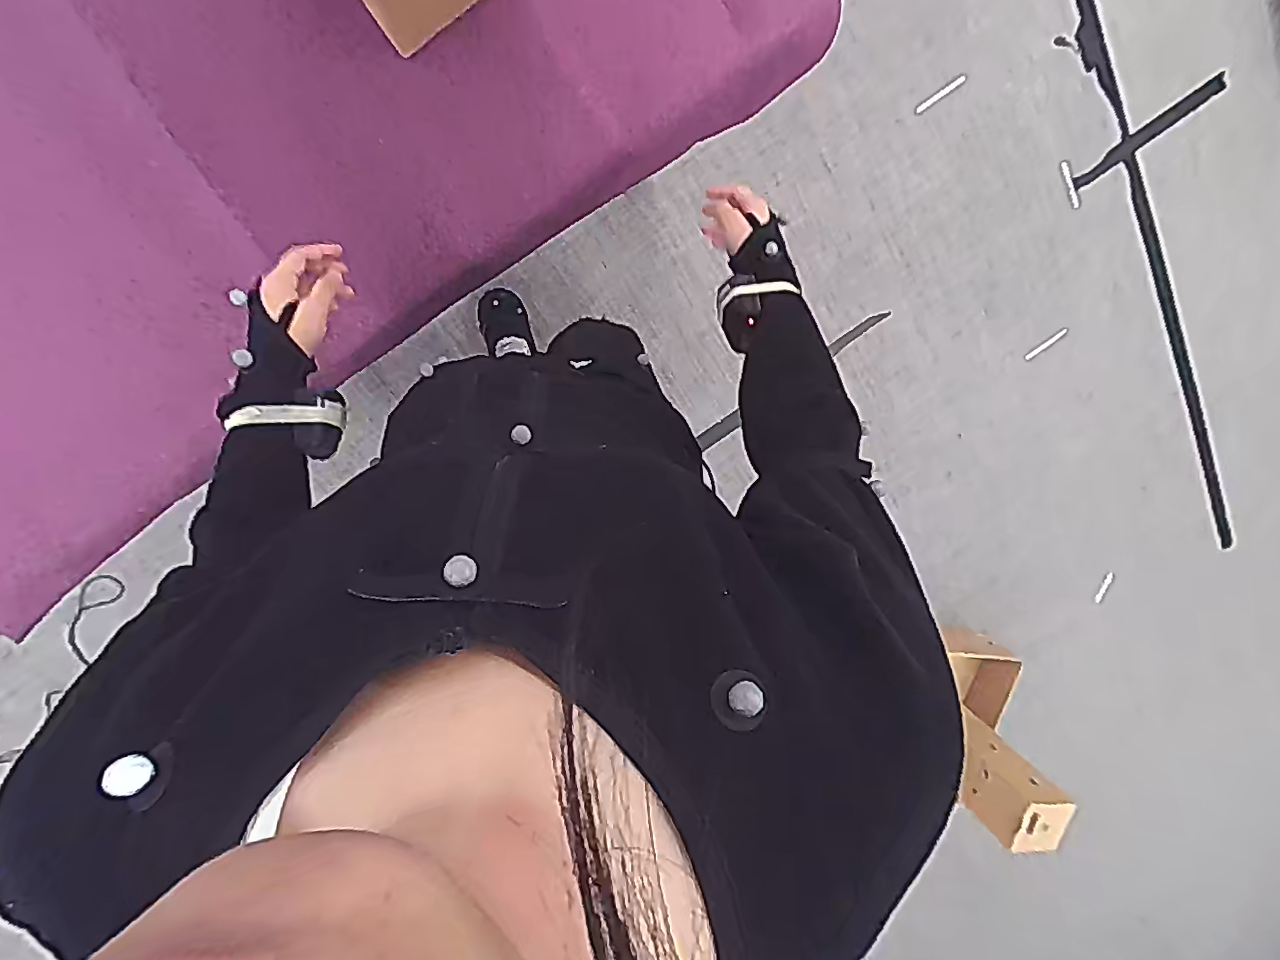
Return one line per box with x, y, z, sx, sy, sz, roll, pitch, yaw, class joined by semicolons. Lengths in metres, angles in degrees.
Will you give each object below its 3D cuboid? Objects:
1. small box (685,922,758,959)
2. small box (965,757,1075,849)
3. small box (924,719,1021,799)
0.249;1.480;1.629;0.168;0.176;0.179;14;103;-15;small box
1.096;0.934;1.573;0.179;0.176;0.168;9;104;-16;small box
1.057;0.889;1.727;0.179;0.176;0.168;10;103;-14;small box
